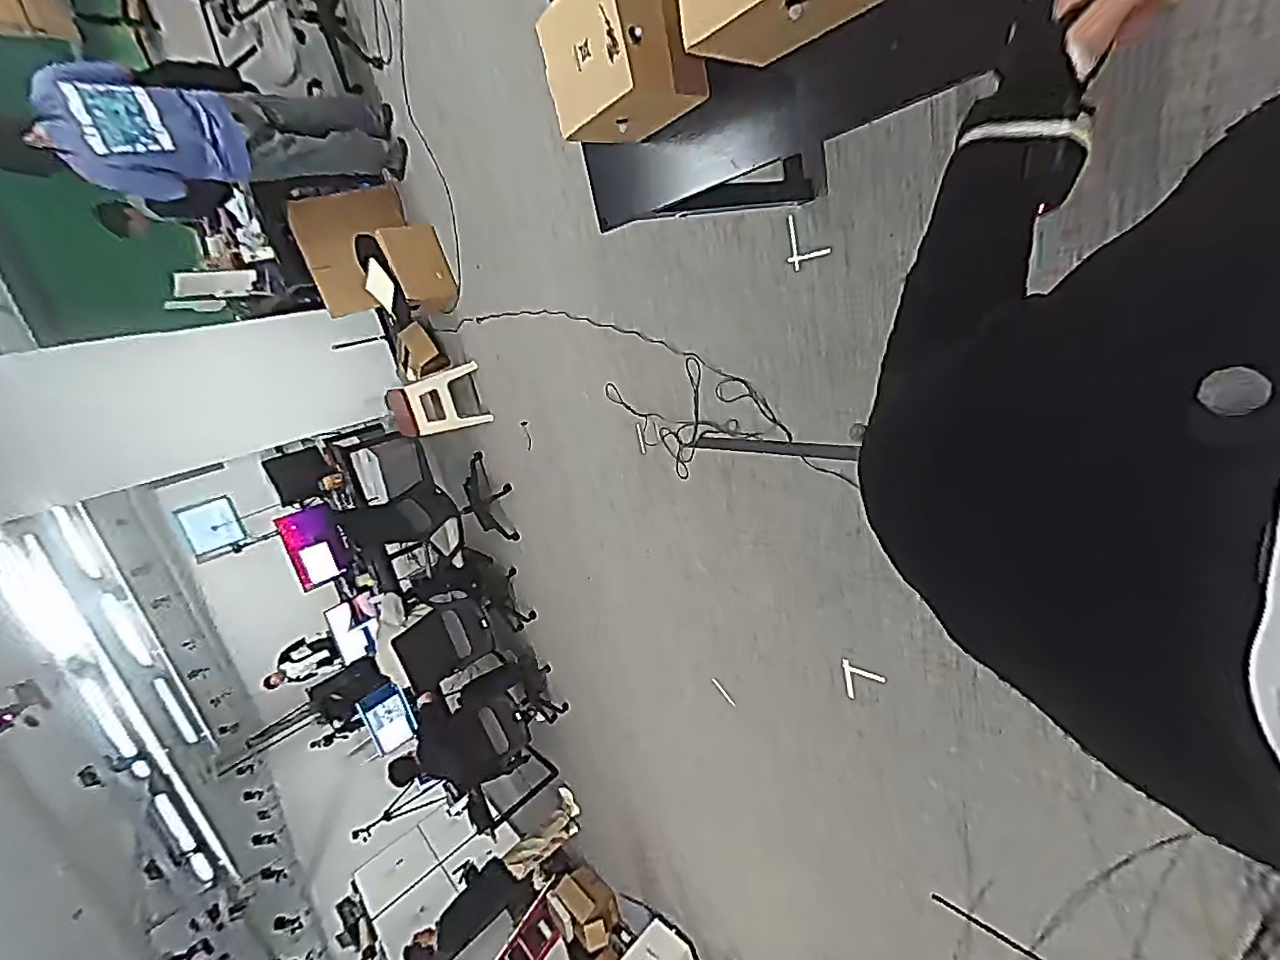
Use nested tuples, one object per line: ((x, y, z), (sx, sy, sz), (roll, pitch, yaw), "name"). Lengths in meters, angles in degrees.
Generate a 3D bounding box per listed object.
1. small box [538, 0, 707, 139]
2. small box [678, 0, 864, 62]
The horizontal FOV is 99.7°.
((-0.025, -0.644, 0.828), (0.179, 0.176, 0.168), (5, 114, 49), "small box")
((0.155, -0.620, 0.624), (0.179, 0.176, 0.168), (9, 117, 48), "small box")
